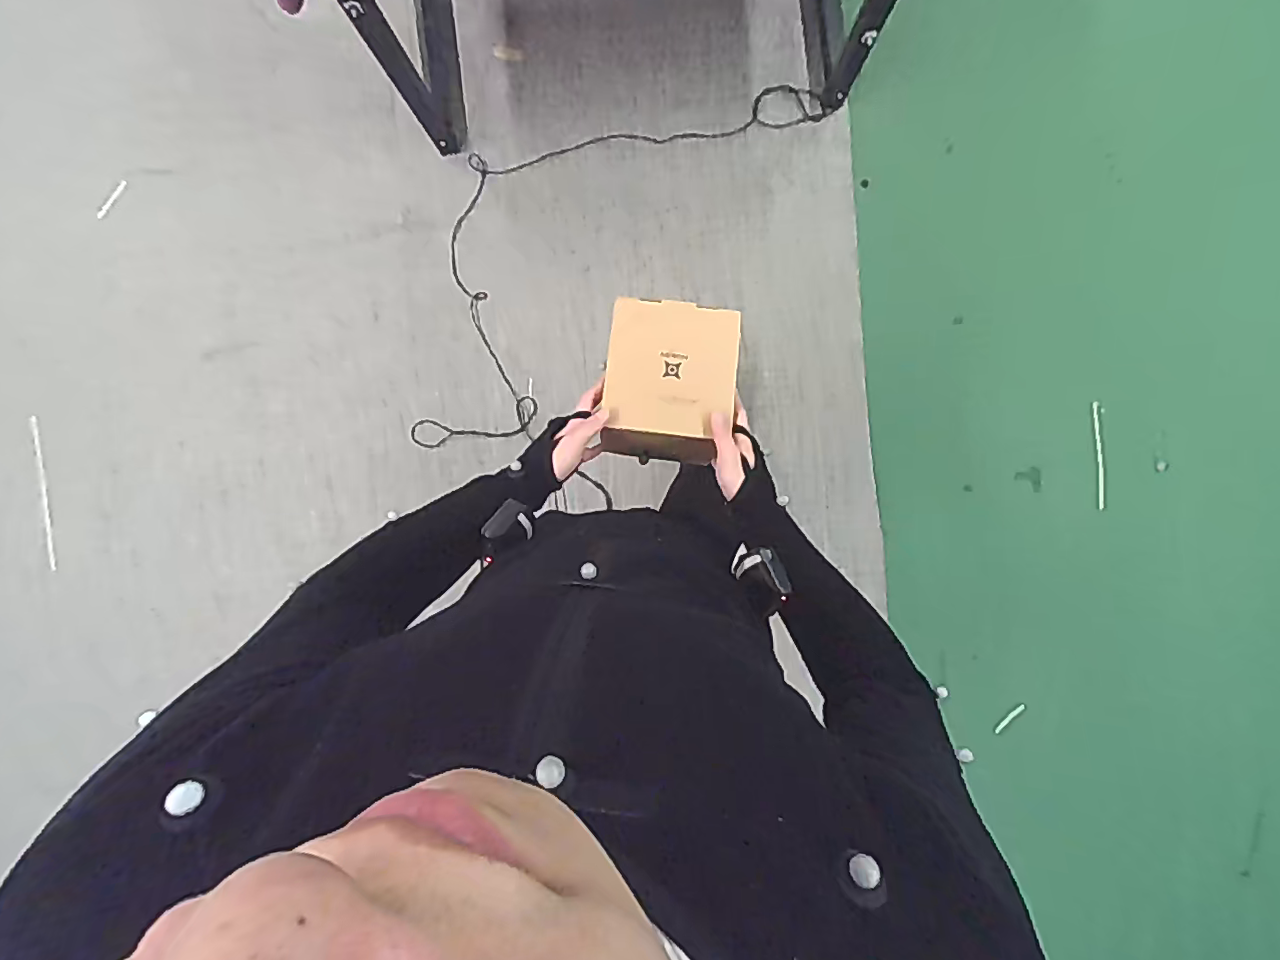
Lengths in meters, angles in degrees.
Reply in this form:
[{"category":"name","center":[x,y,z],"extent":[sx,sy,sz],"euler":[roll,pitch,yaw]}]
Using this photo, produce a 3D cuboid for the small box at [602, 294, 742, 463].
[{"category":"small box","center":[0.037,-0.130,0.753],"extent":[0.168,0.176,0.179],"euler":[6,82,-2]}]
